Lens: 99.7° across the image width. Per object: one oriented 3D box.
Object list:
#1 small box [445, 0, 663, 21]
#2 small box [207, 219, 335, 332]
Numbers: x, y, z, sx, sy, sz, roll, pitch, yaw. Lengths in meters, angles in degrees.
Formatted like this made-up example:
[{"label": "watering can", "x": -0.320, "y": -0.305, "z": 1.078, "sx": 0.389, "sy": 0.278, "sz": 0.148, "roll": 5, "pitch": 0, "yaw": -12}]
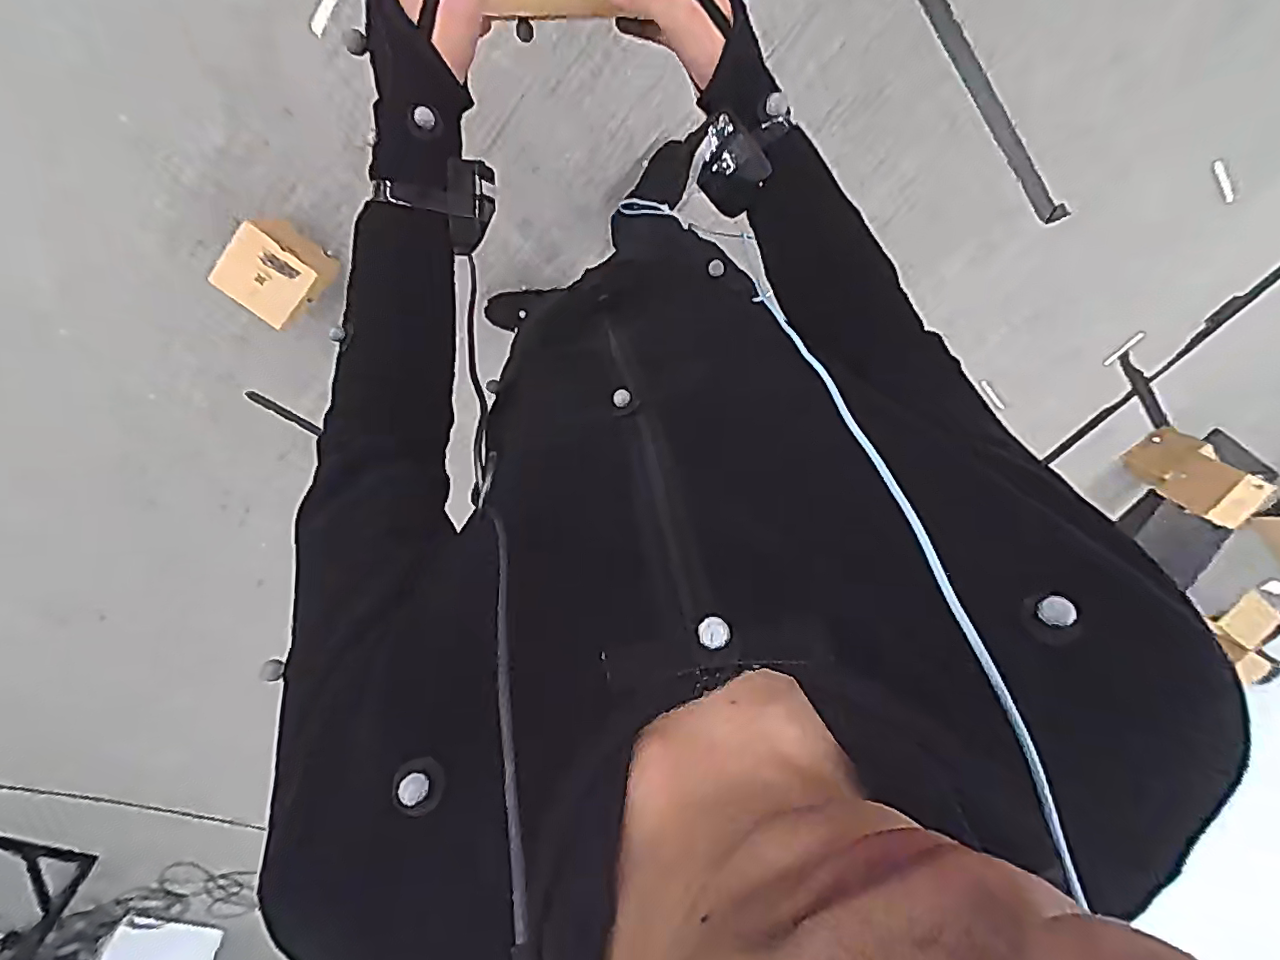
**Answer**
[{"label": "small box", "x": -0.079, "y": -0.467, "z": 0.413, "sx": 0.168, "sy": 0.176, "sz": 0.179, "roll": -10, "pitch": 129, "yaw": -11}, {"label": "small box", "x": -0.852, "y": -0.487, "z": 1.272, "sx": 0.179, "sy": 0.176, "sz": 0.168, "roll": -42, "pitch": 117, "yaw": 16}]
